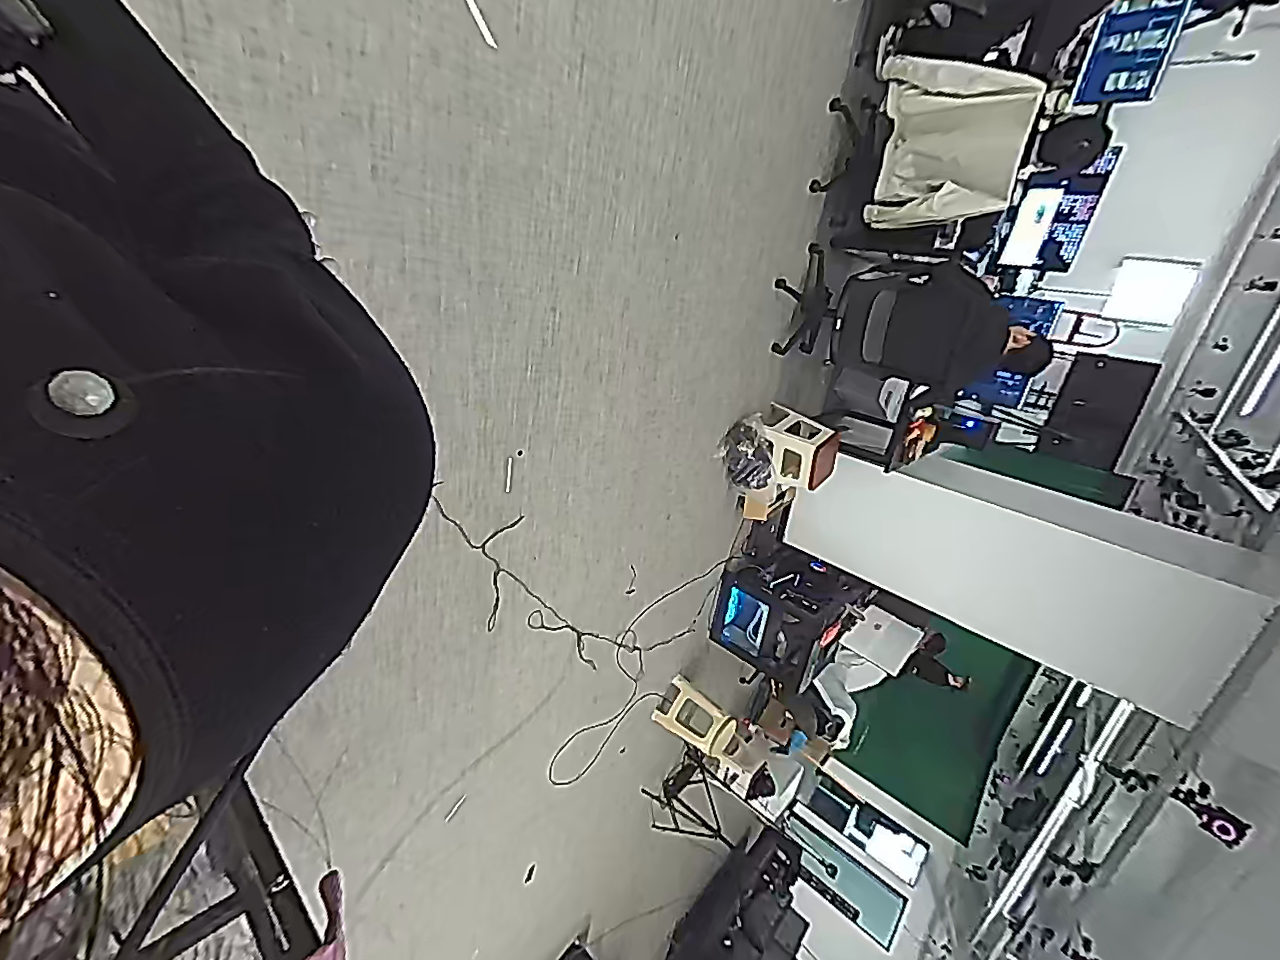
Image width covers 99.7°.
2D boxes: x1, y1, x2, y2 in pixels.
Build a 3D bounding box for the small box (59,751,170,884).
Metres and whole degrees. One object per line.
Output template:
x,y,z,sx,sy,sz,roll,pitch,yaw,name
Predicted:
-1.270,0.807,1.310,0.168,0.176,0.179,-13,121,-48,small box
